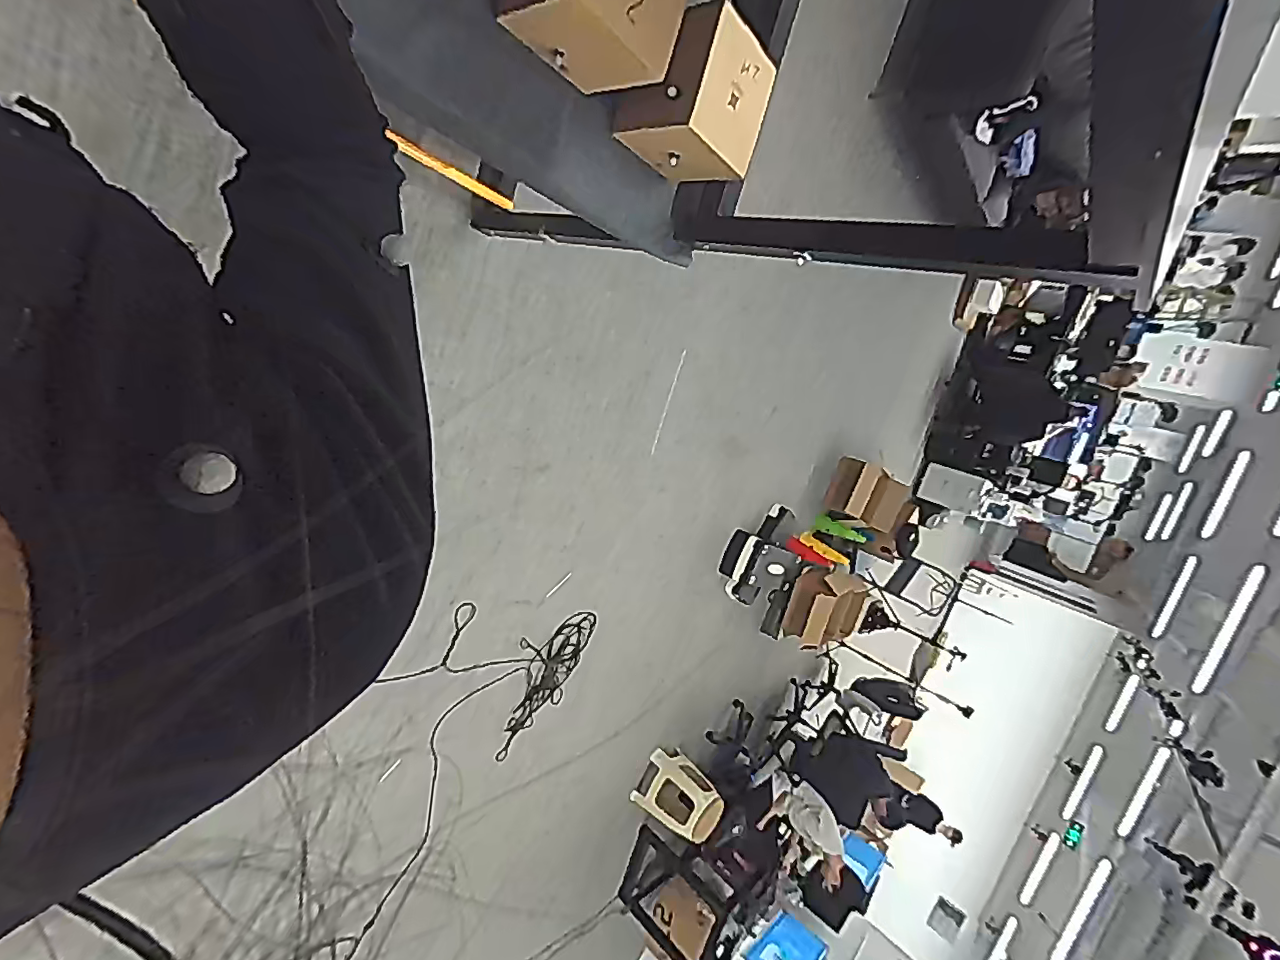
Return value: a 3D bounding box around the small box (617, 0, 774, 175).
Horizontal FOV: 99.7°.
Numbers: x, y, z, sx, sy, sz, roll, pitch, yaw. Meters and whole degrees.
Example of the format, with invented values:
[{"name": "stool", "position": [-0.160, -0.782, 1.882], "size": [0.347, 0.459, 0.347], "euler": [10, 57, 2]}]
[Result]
[{"name": "small box", "position": [0.085, -0.624, 0.882], "size": [0.168, 0.176, 0.179], "euler": [4, 106, -51]}]
